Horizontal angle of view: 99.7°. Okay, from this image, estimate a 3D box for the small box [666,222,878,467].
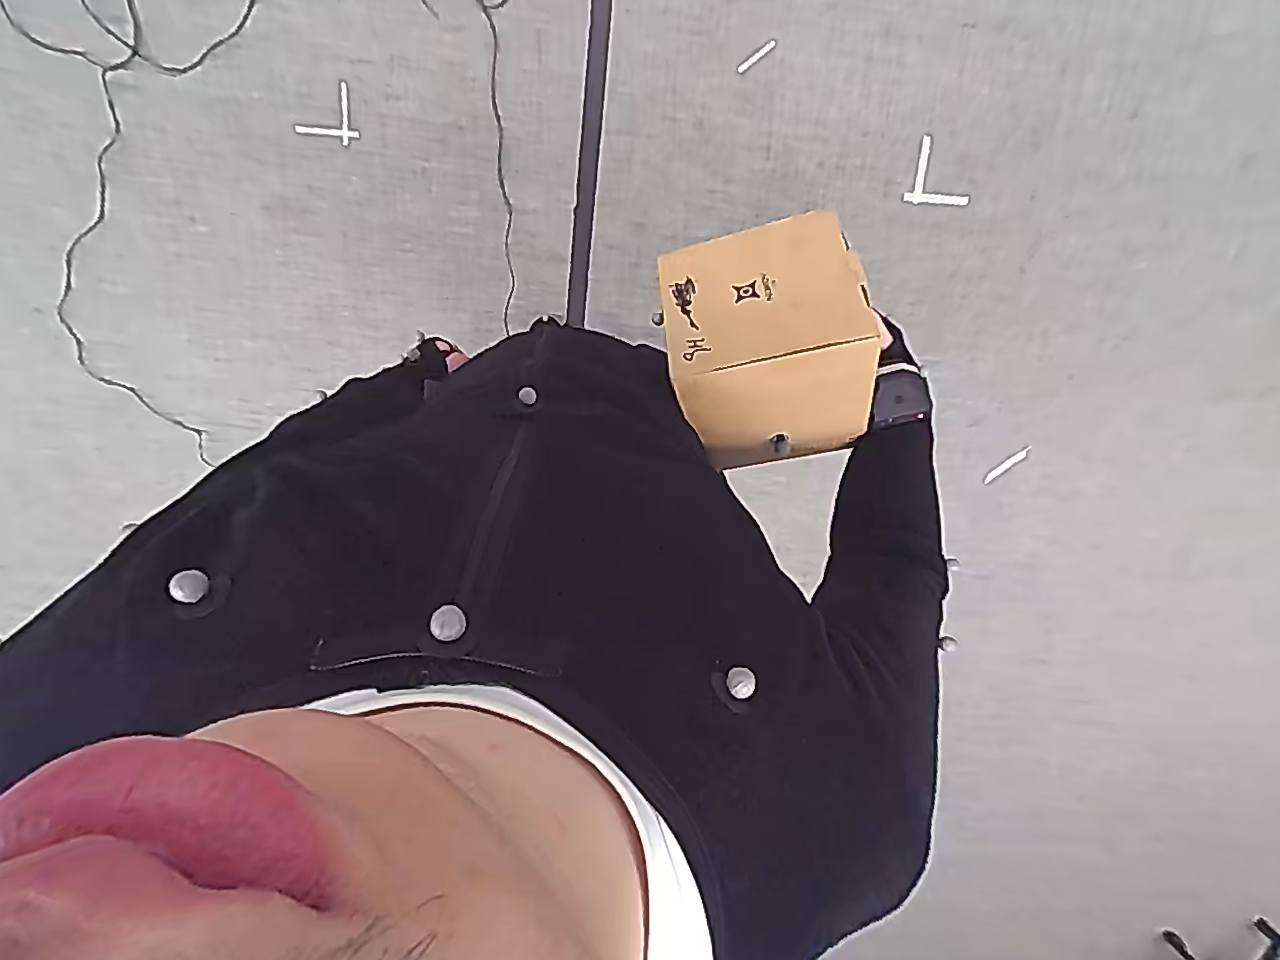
[{"bbox_3d":[0.133,-0.133,0.577,0.179,0.168,0.176,-10,148,11],"label":"small box"}]
